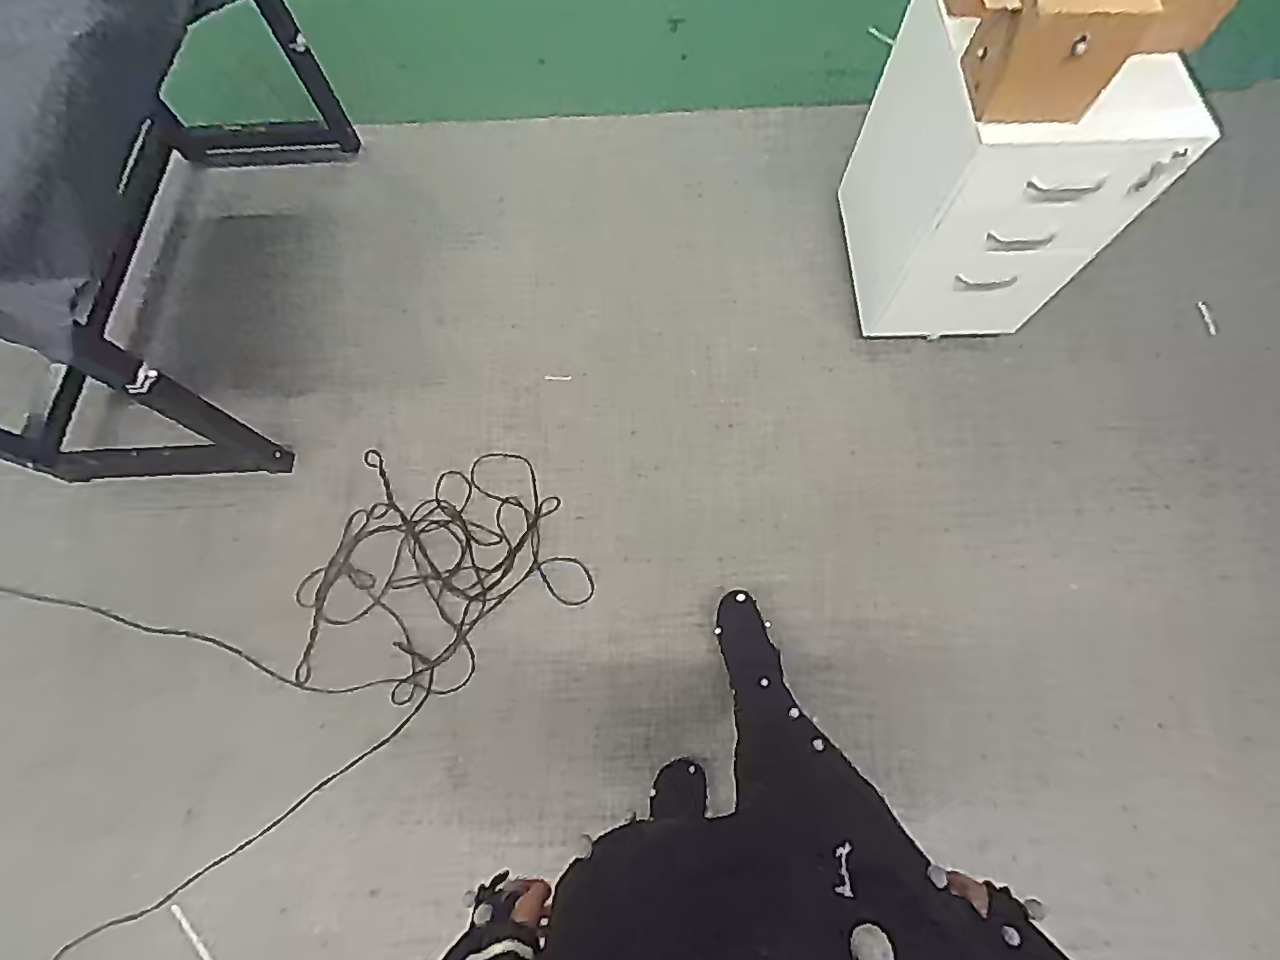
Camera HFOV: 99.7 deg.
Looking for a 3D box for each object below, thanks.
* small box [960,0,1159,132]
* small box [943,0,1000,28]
[{"bbox_3d":[0.665,-0.700,0.881,0.179,0.176,0.168,0,69,1],"label":"small box"},{"bbox_3d":[0.669,-0.959,0.978,0.179,0.176,0.168,1,71,0],"label":"small box"}]
